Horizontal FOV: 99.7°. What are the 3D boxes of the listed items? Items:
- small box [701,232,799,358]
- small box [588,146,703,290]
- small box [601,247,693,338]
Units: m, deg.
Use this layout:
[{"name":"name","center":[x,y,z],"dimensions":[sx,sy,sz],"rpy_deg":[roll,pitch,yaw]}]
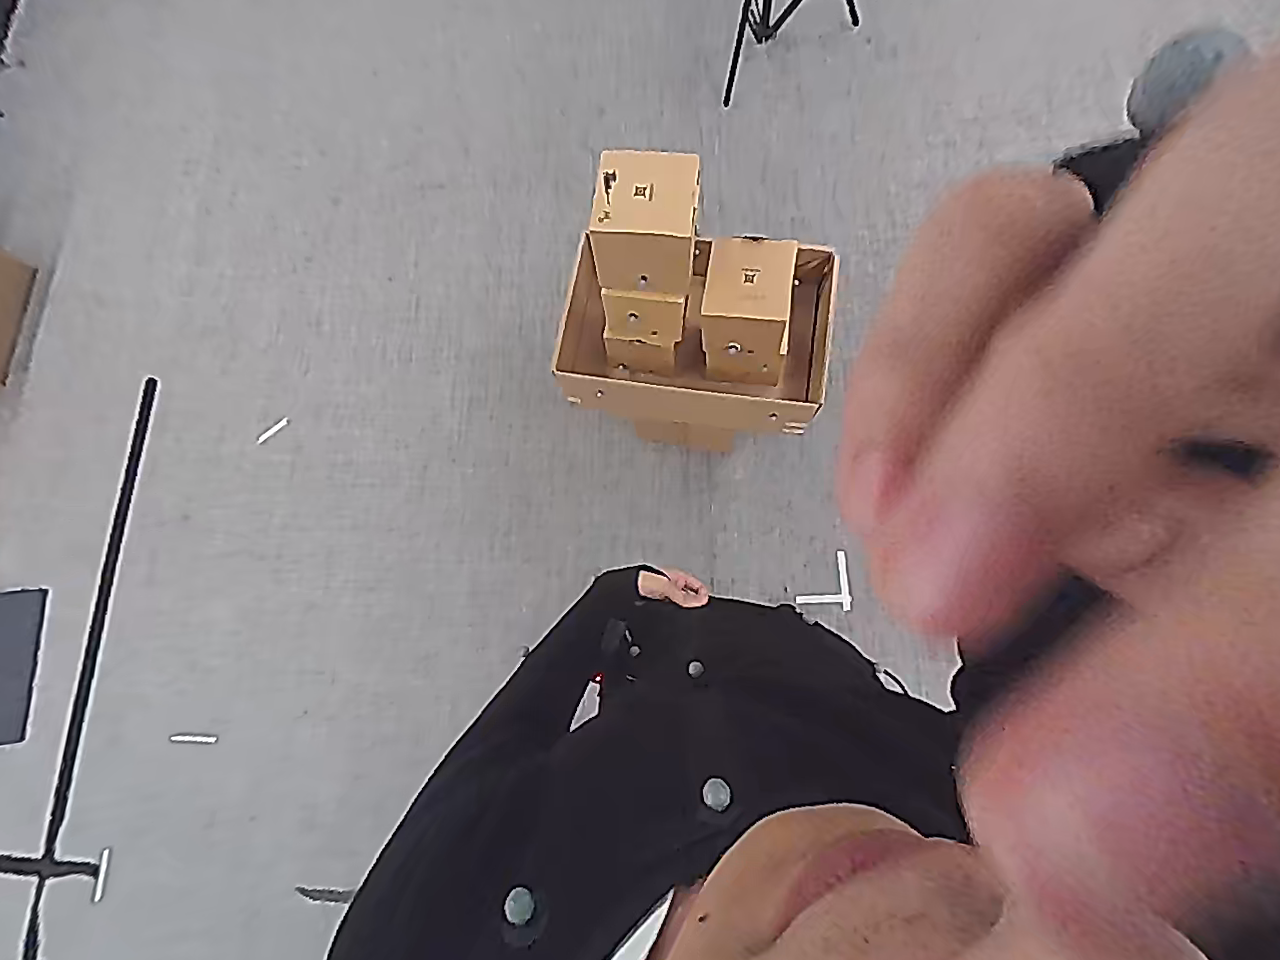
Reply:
[{"name":"small box","center":[0.220,-0.375,1.110],"dimensions":[0.168,0.176,0.179],"rpy_deg":[8,78,10]},{"name":"small box","center":[0.013,-0.468,0.987],"dimensions":[0.179,0.176,0.168],"rpy_deg":[7,77,4]},{"name":"small box","center":[0.021,-0.421,1.144],"dimensions":[0.168,0.176,0.179],"rpy_deg":[8,77,5]}]
